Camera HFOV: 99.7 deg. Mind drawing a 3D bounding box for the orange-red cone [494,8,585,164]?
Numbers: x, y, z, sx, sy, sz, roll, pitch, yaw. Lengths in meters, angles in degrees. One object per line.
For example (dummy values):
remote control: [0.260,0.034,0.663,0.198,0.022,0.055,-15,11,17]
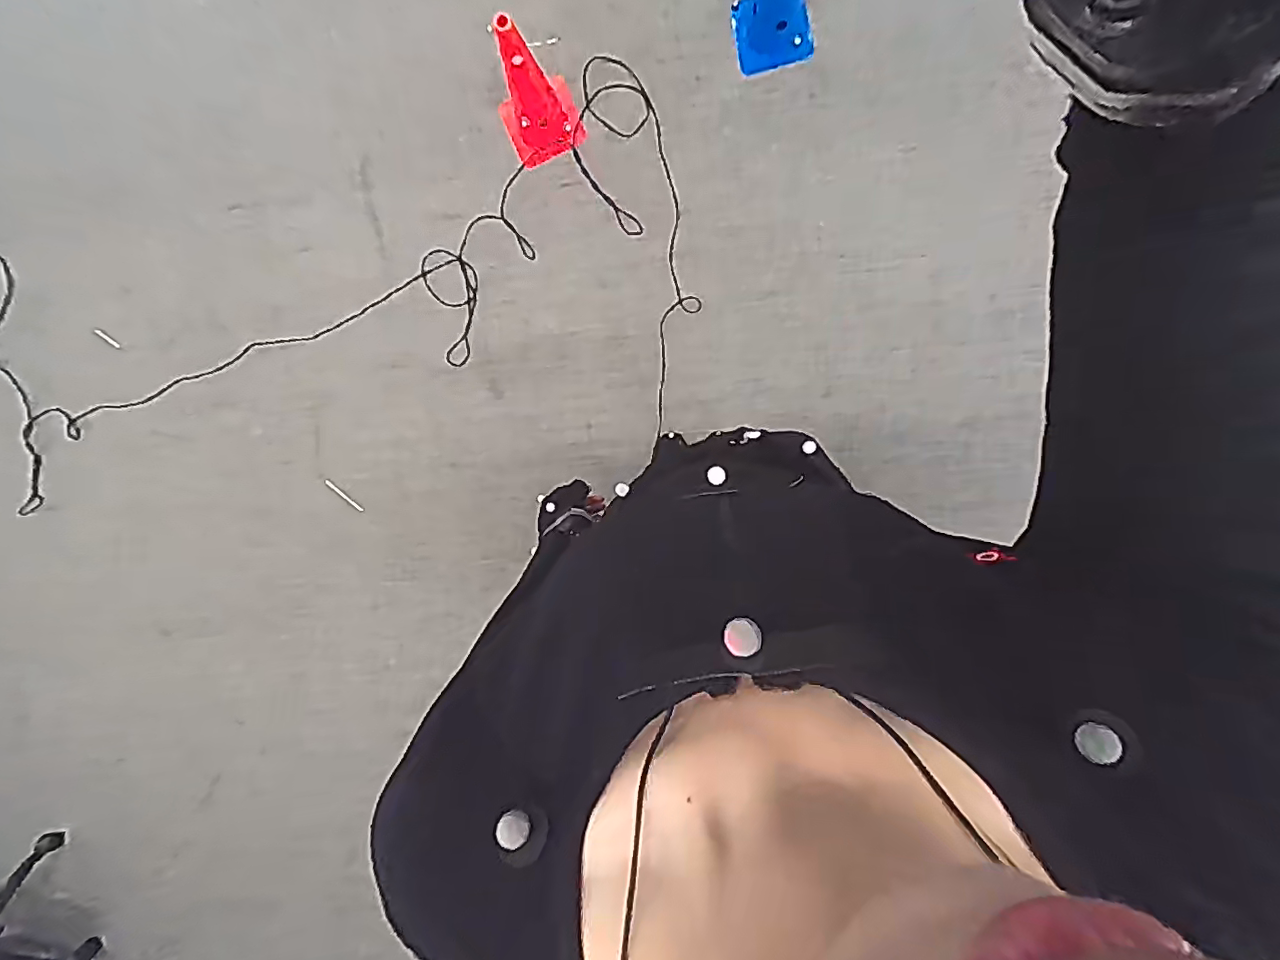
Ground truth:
orange-red cone: [-0.283,-0.991,1.324,0.198,0.360,0.199,-23,89,4]
